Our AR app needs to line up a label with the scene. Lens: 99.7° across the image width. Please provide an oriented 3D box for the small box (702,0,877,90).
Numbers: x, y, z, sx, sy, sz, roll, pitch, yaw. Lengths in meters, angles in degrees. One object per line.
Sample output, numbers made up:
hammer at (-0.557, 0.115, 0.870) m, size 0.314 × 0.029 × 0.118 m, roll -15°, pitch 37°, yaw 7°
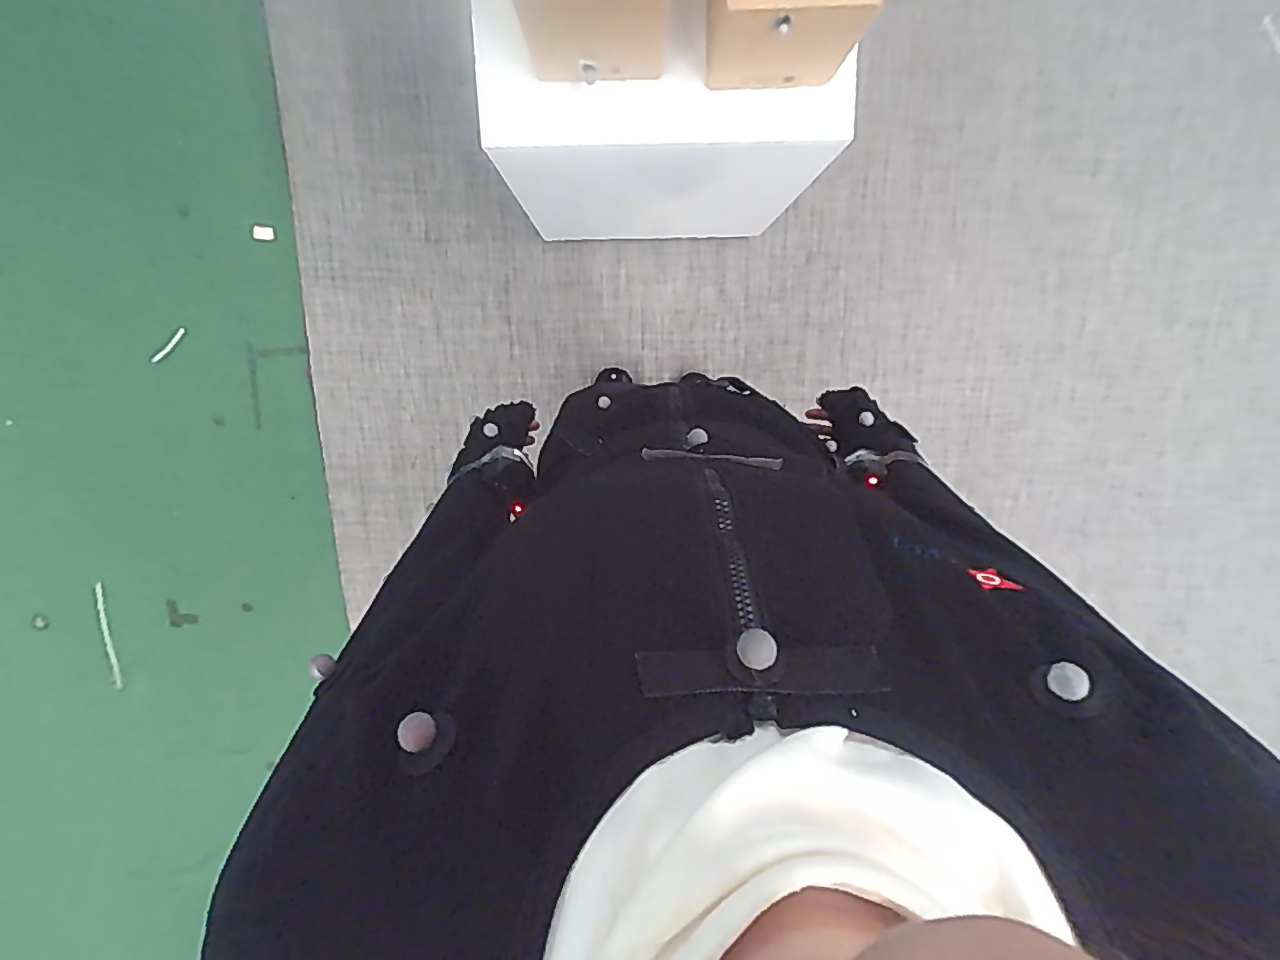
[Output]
small box at (0.164, -0.596, 0.630) m, size 0.168 × 0.176 × 0.179 m, roll -2°, pitch 100°, yaw -1°

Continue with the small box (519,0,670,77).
small box at (-0.055, -0.599, 0.612) m, size 0.168 × 0.176 × 0.179 m, roll -3°, pitch 103°, yaw 0°
